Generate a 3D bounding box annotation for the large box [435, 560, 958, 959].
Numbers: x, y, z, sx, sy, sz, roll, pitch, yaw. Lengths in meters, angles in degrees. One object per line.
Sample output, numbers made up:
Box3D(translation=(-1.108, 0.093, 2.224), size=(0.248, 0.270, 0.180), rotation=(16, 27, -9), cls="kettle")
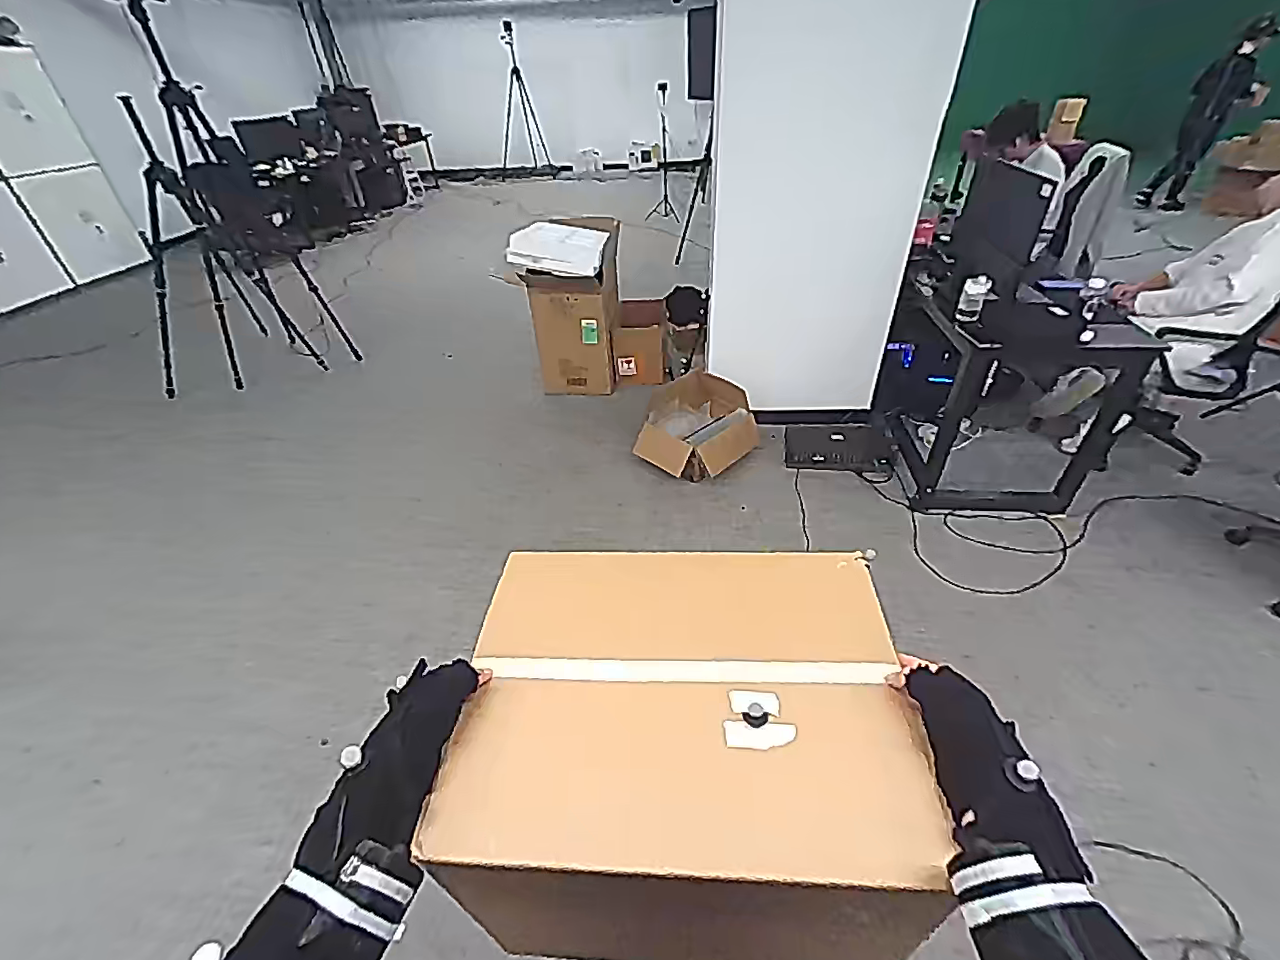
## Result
Box3D(translation=(0.052, 0.307, 0.611), size=(0.408, 0.320, 0.320), rotation=(-1, 38, 6), cls="large box")
